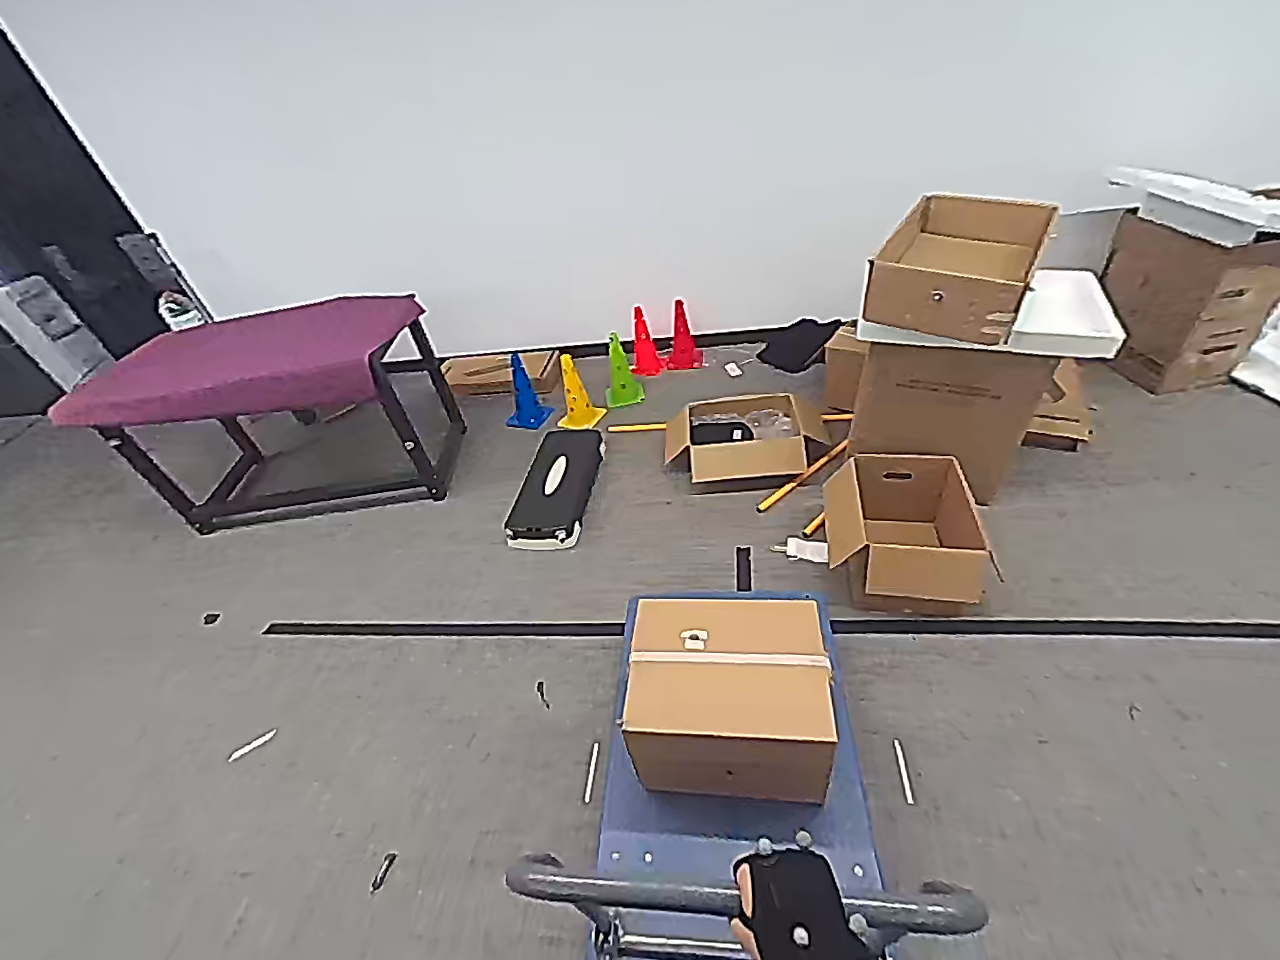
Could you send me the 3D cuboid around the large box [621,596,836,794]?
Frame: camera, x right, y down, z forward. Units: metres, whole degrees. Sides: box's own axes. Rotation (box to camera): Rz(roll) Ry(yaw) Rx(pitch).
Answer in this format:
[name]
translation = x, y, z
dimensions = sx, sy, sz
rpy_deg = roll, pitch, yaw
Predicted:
[large box]
translation = 0.198, 0.480, 1.212
dimensions = 0.408, 0.320, 0.320
rpy_deg = -3, 40, 11
